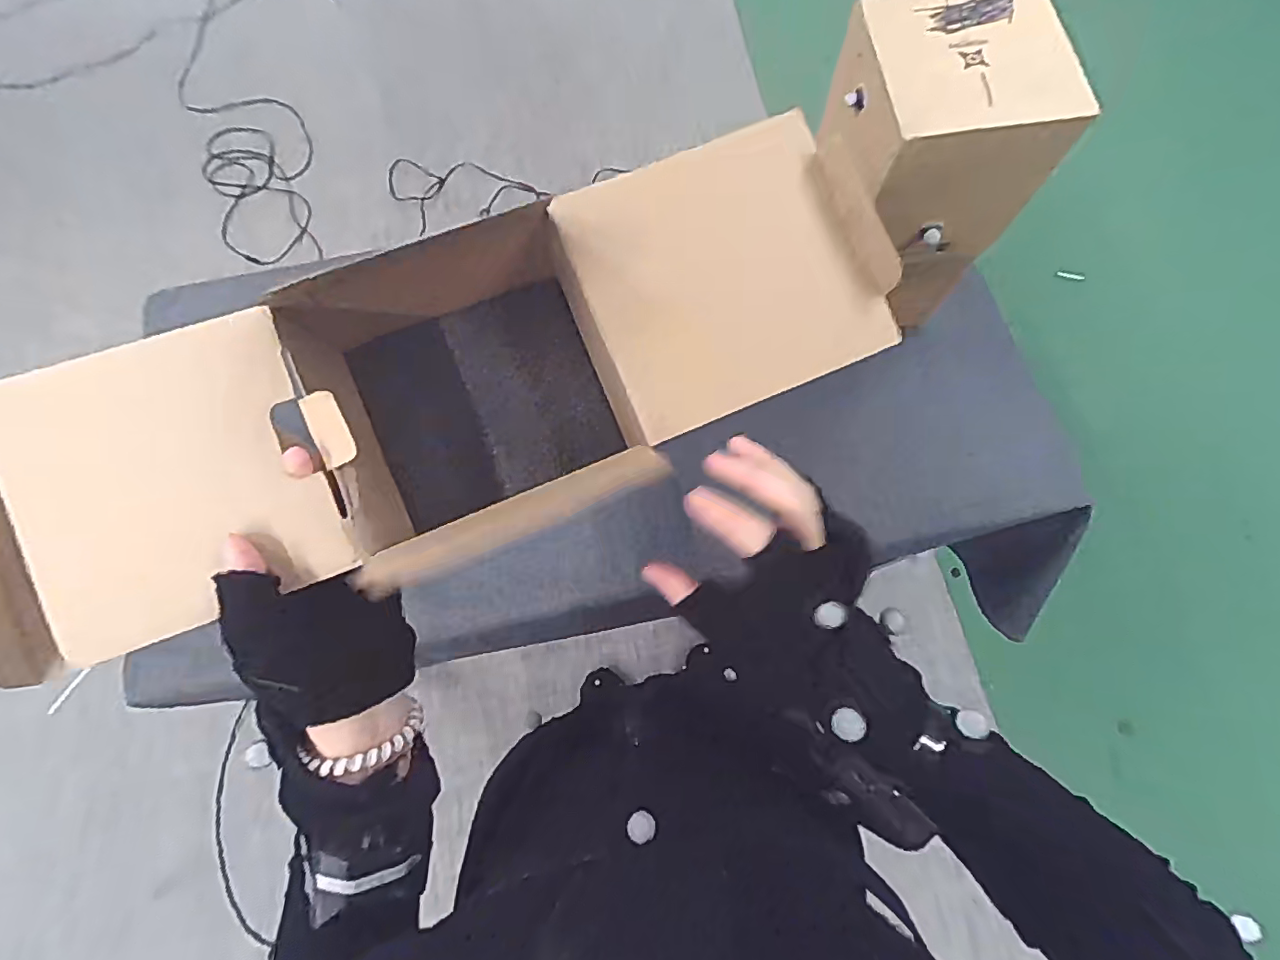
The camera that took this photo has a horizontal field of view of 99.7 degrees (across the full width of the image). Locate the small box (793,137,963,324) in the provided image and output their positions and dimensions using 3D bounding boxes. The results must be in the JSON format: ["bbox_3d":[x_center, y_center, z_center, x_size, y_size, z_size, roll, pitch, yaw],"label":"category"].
[{"bbox_3d":[0.305,-0.320,0.709,0.179,0.176,0.168,0,73,2],"label":"small box"}]

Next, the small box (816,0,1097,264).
[{"bbox_3d":[0.292,-0.351,0.547,0.168,0.176,0.179,-6,73,1],"label":"small box"}]

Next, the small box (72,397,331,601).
[{"bbox_3d":[-0.489,0.031,0.631,0.168,0.176,0.179,-14,73,-3],"label":"small box"}]
